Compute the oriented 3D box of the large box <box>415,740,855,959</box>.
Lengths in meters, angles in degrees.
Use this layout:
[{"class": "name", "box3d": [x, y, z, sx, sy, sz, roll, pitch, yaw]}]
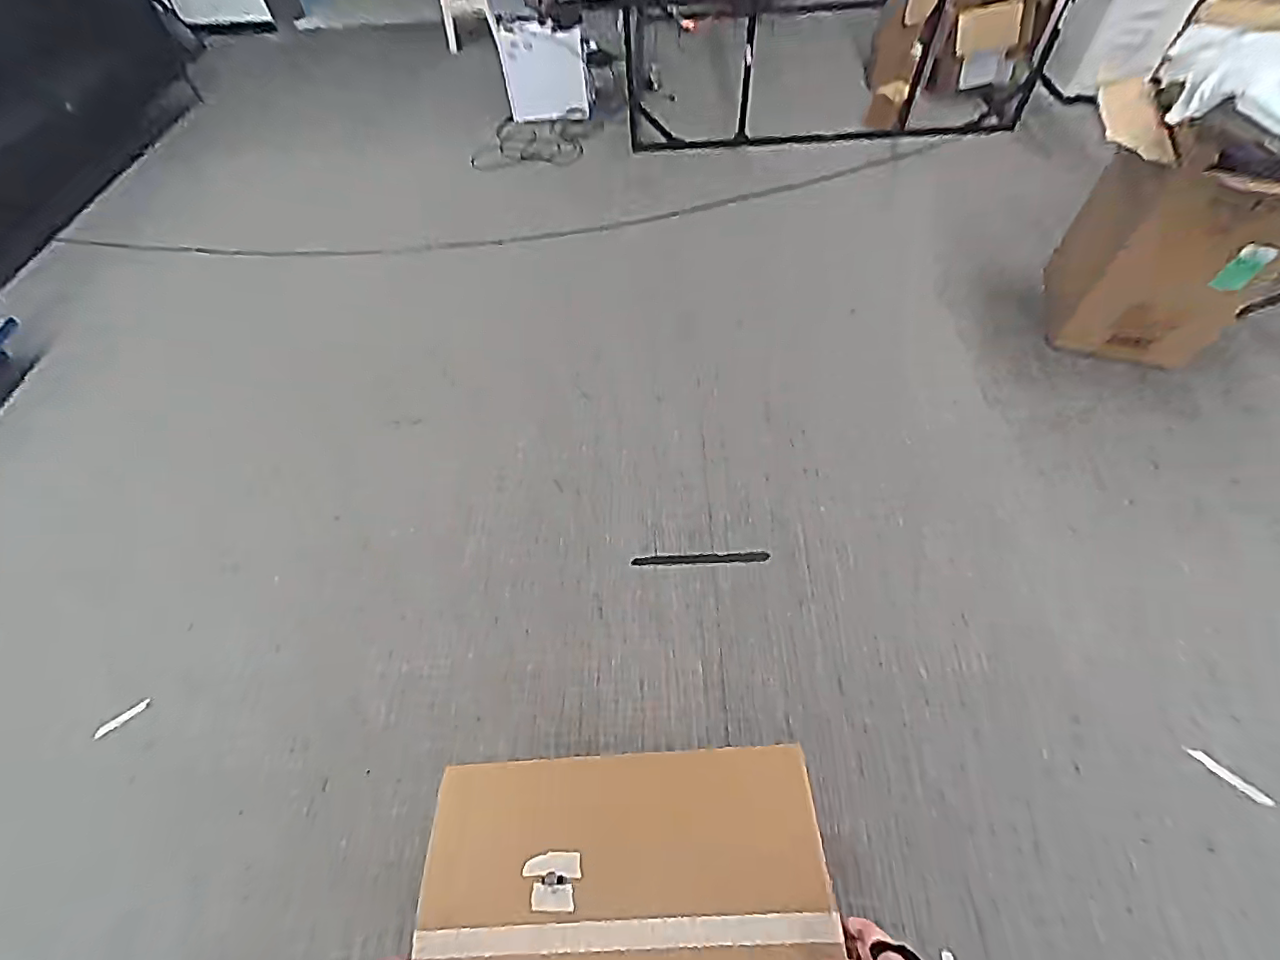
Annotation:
[{"class": "large box", "box3d": [0.011, 0.508, 0.601, 0.408, 0.320, 0.320, -7, 49, 6]}]
